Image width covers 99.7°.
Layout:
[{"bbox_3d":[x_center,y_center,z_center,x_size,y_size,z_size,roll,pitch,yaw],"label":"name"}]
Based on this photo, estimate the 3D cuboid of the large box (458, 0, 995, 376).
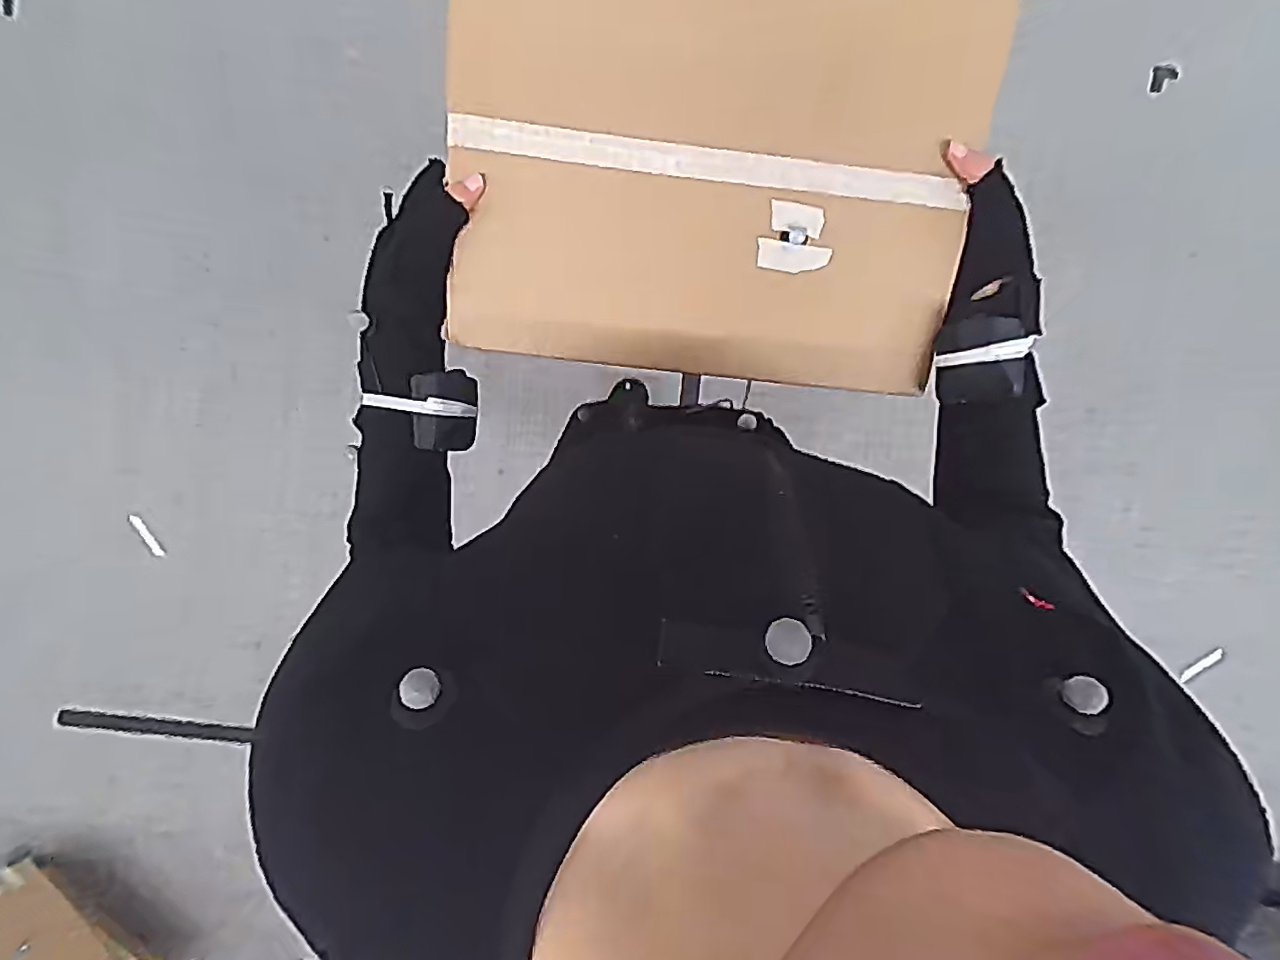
[{"bbox_3d":[0.049,-0.296,0.569,0.408,0.320,0.320,5,107,-5],"label":"large box"}]
